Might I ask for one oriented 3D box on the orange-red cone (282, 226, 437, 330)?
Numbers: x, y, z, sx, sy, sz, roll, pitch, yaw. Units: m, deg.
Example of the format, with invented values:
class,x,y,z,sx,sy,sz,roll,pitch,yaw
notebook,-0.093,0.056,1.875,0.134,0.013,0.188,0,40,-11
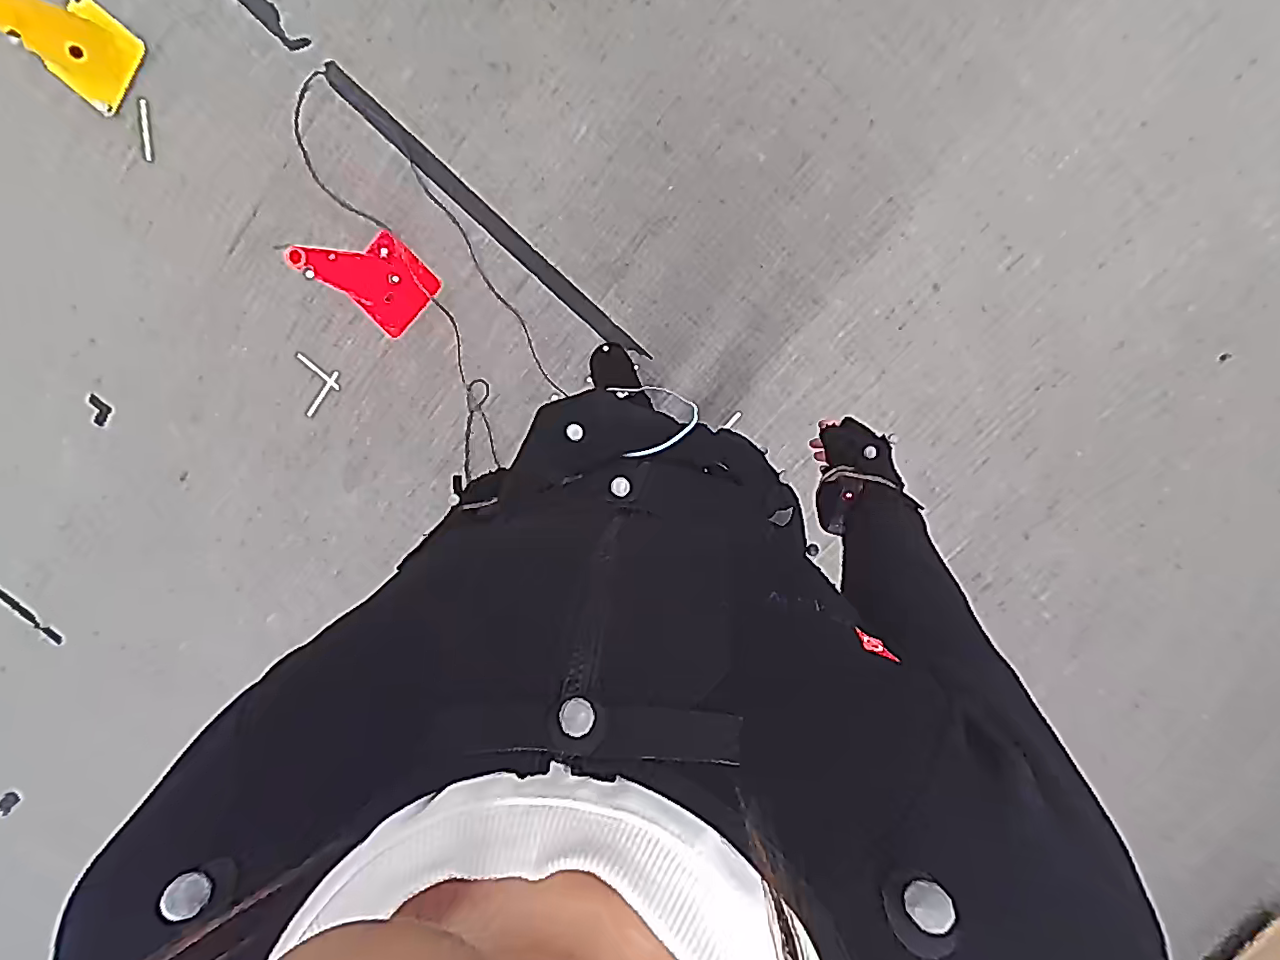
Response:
class,x,y,z,sx,sy,sz,roll,pitch,yaw
orange-red cone,-0.651,-0.474,1.204,0.199,0.360,0.198,-42,95,13
